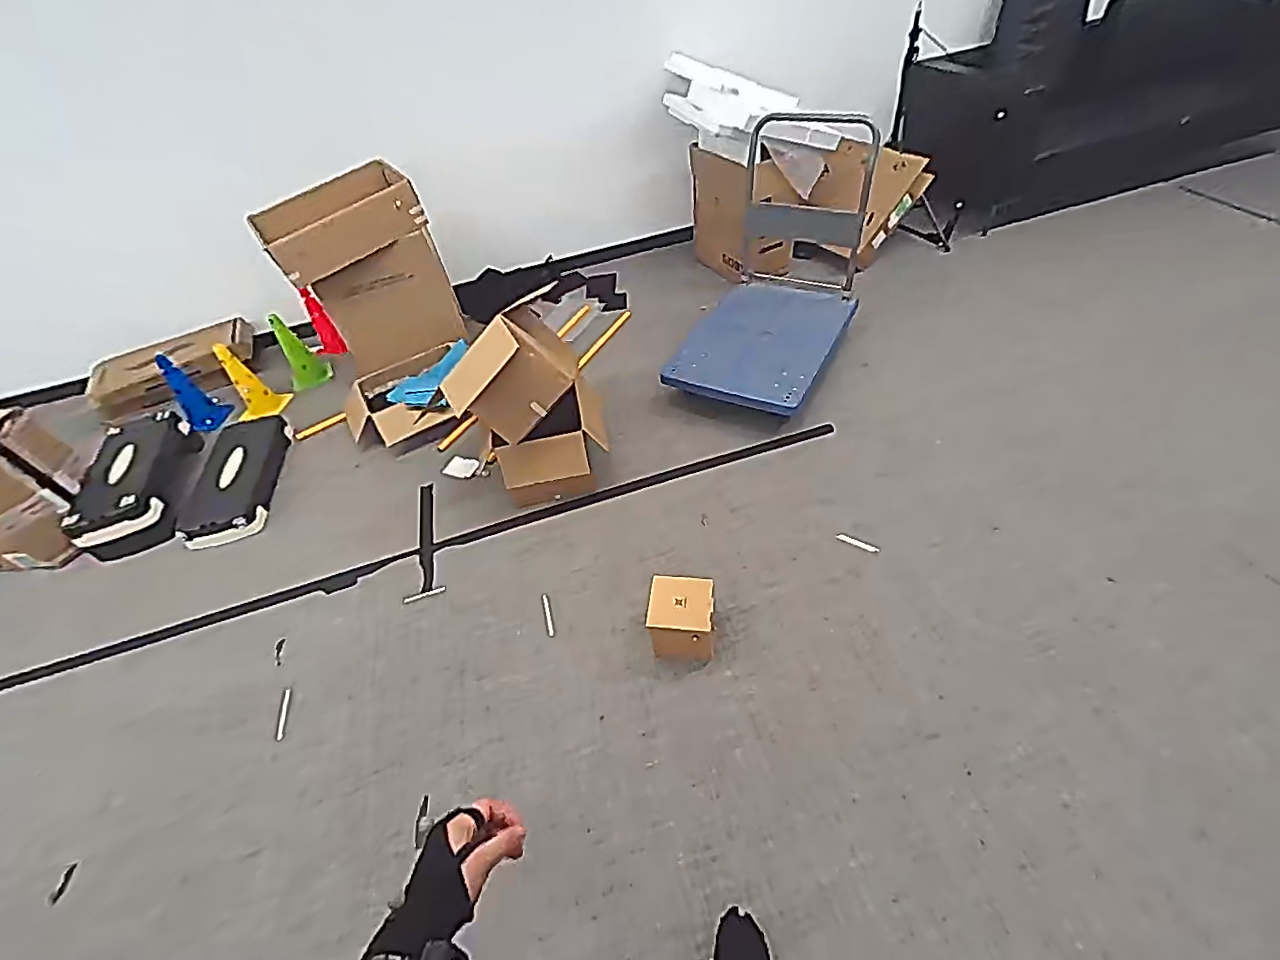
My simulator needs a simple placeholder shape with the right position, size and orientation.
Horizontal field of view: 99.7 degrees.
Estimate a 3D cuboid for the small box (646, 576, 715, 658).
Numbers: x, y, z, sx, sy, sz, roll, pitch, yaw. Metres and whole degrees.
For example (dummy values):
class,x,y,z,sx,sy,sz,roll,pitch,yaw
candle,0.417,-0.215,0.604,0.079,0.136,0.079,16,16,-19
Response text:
class,x,y,z,sx,sy,sz,roll,pitch,yaw
small box,0.121,0.395,1.550,0.179,0.176,0.168,2,47,10
